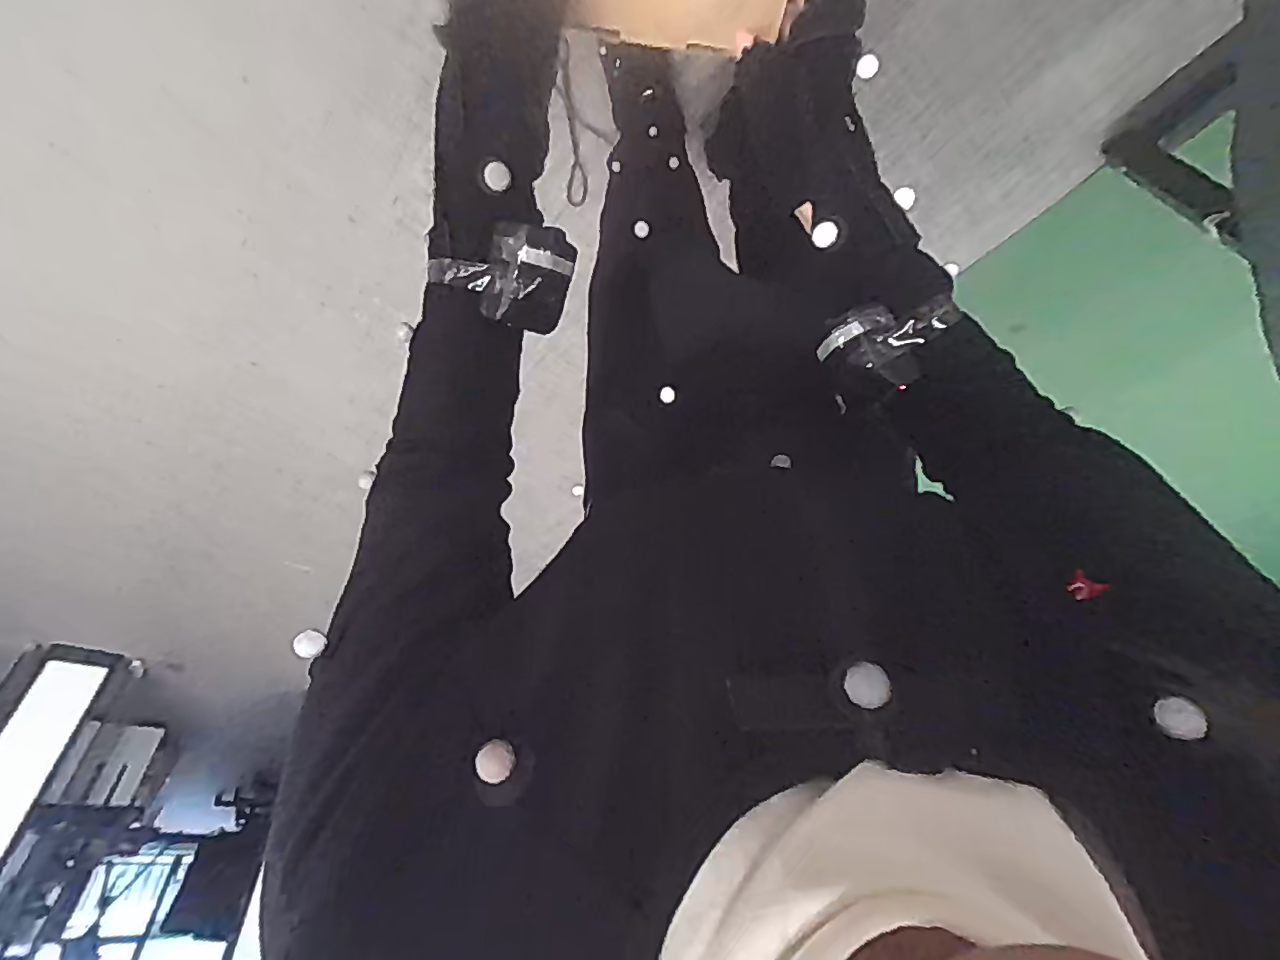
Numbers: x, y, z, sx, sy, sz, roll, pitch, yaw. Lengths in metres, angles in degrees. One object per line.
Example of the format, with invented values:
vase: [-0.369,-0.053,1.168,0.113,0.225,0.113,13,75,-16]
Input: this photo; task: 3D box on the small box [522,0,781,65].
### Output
small box: [0.008,-0.403,0.354,0.168,0.176,0.179,0,133,-12]
